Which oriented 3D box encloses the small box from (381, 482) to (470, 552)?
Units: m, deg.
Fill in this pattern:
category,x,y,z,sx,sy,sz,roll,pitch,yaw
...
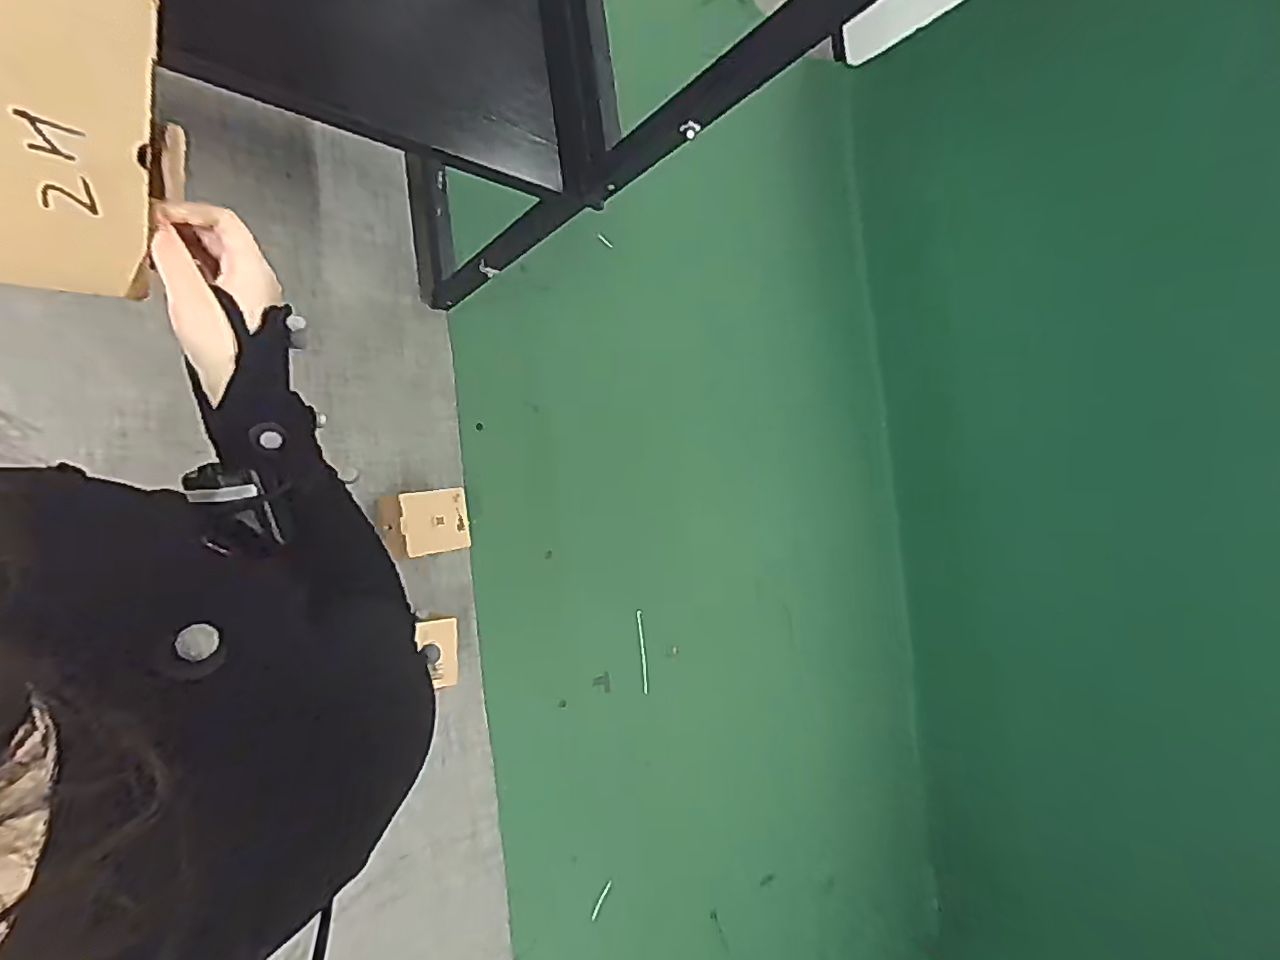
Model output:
category,x,y,z,sx,sy,sz,roll,pitch,yaw
small box,-0.584,0.101,1.460,0.179,0.176,0.168,-7,90,-43
